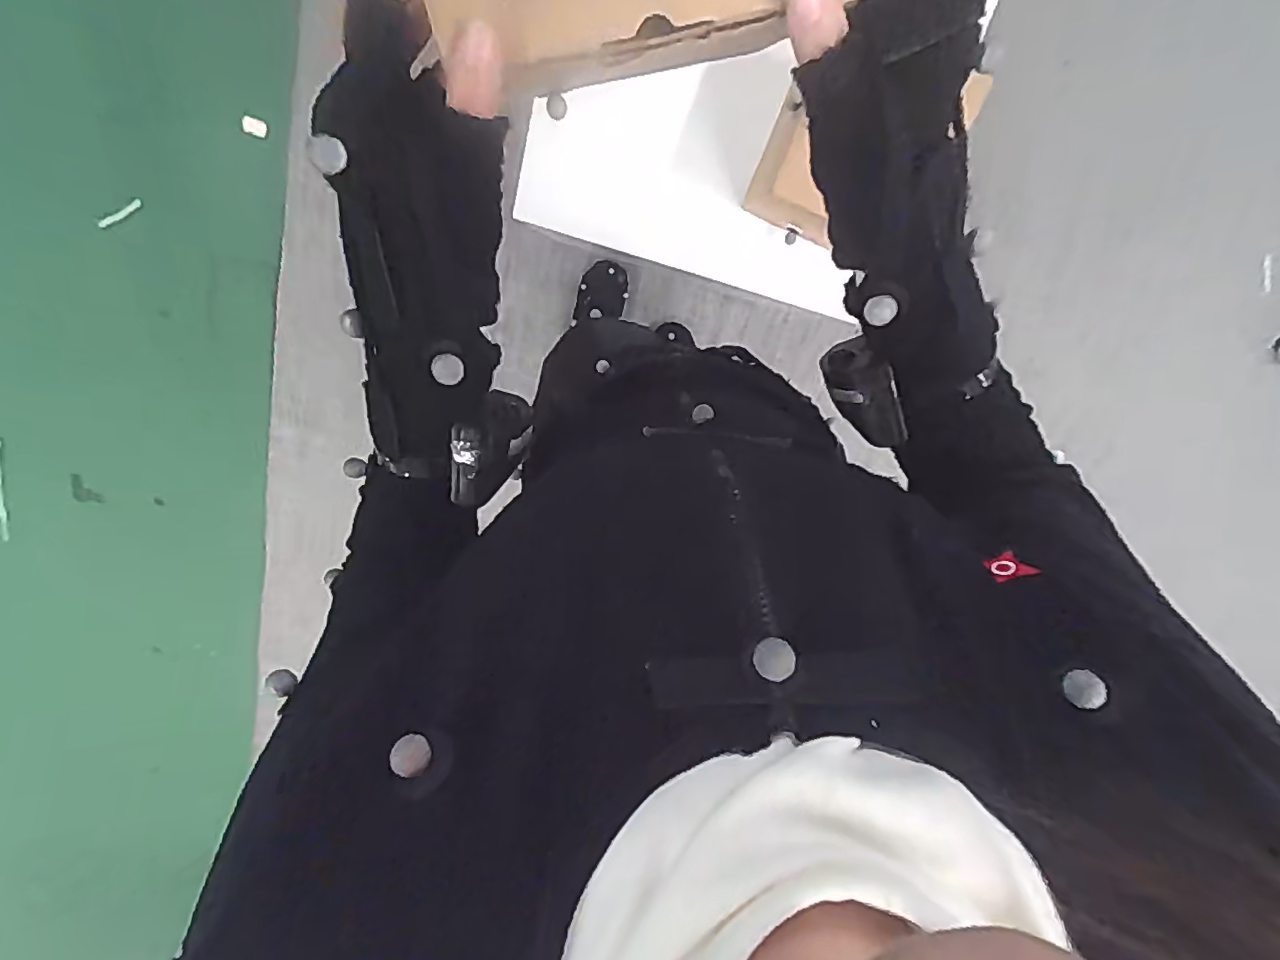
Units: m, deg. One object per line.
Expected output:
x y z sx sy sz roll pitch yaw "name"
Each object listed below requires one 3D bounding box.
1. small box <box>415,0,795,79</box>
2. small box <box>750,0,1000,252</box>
-0.019 -0.289 0.227 0.168 0.176 0.179 -10 123 3 "small box"
0.240 -0.376 0.609 0.168 0.176 0.179 20 110 -8 "small box"
